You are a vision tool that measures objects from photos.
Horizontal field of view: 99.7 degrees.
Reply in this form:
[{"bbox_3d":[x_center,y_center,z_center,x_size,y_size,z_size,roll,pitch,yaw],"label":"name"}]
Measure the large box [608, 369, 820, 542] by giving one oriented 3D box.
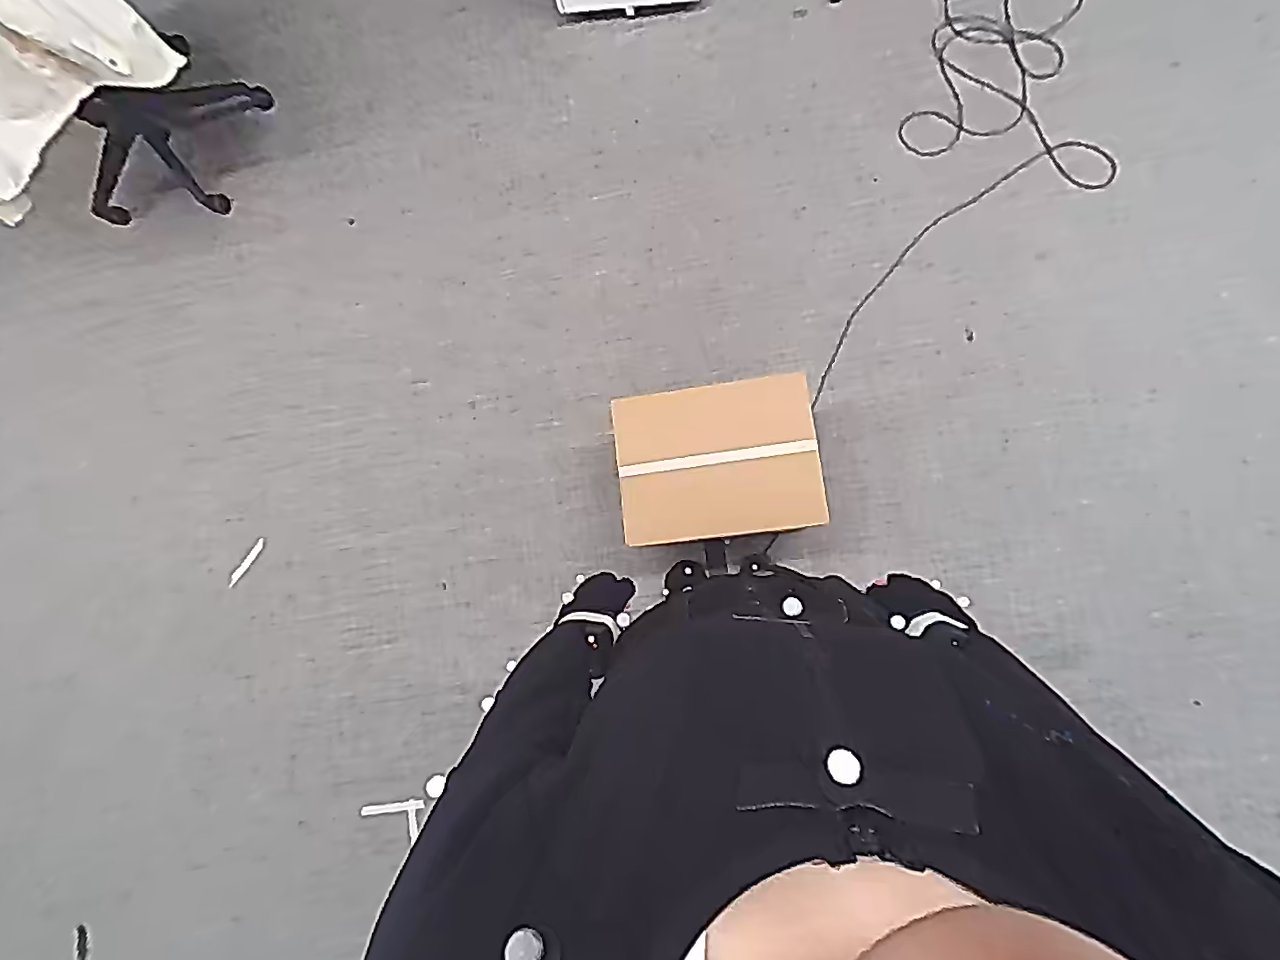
[{"bbox_3d":[0.163,-0.035,1.254,0.408,0.320,0.320,-7,84,7],"label":"large box"}]
